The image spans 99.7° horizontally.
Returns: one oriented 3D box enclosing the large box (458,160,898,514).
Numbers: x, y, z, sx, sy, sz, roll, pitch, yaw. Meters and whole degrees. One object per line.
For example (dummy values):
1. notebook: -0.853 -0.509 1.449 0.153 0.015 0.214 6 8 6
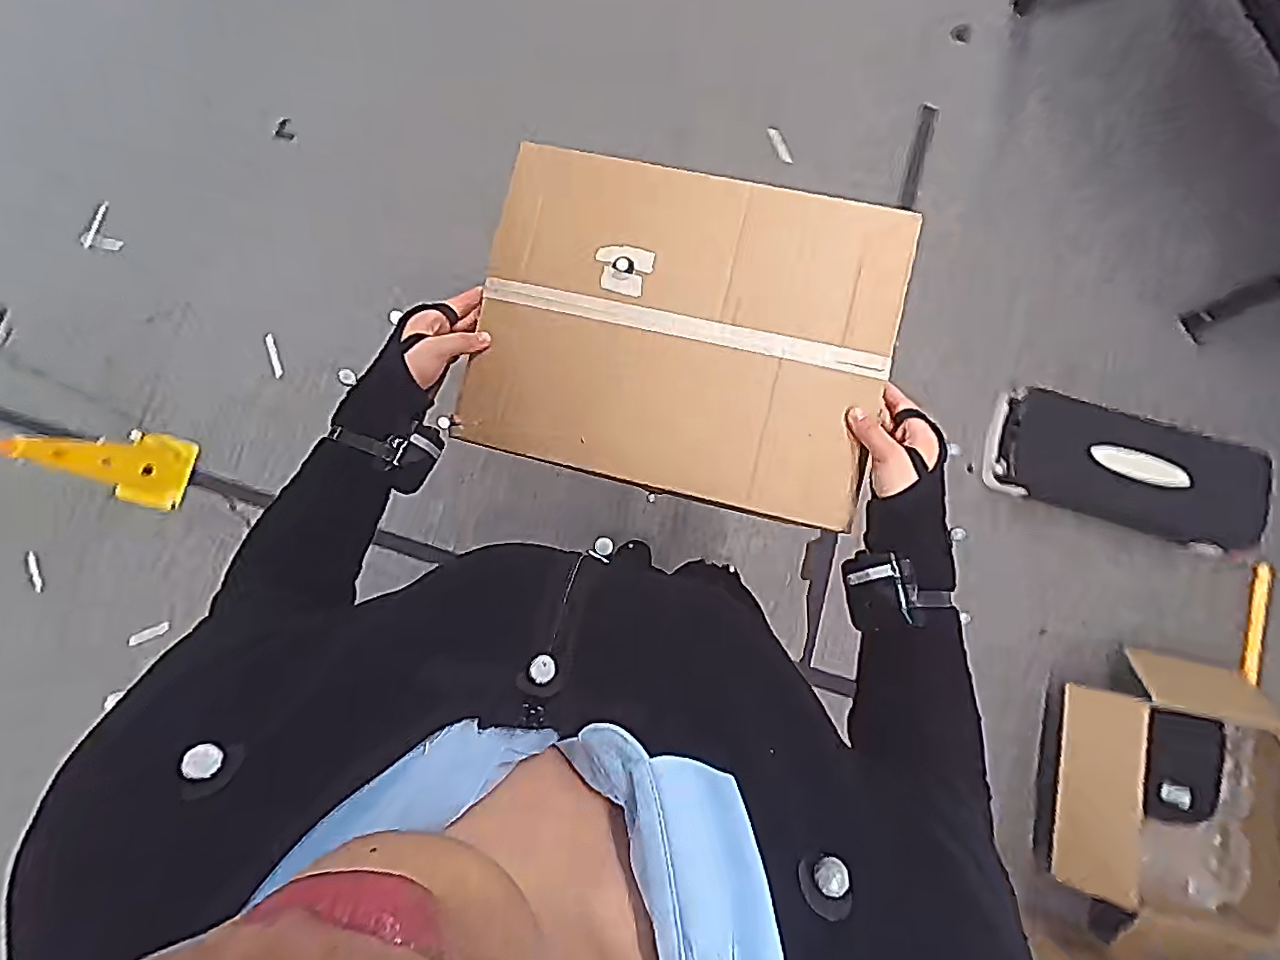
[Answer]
1. large box: 0.048 -0.145 0.693 0.408 0.320 0.320 12 87 6
